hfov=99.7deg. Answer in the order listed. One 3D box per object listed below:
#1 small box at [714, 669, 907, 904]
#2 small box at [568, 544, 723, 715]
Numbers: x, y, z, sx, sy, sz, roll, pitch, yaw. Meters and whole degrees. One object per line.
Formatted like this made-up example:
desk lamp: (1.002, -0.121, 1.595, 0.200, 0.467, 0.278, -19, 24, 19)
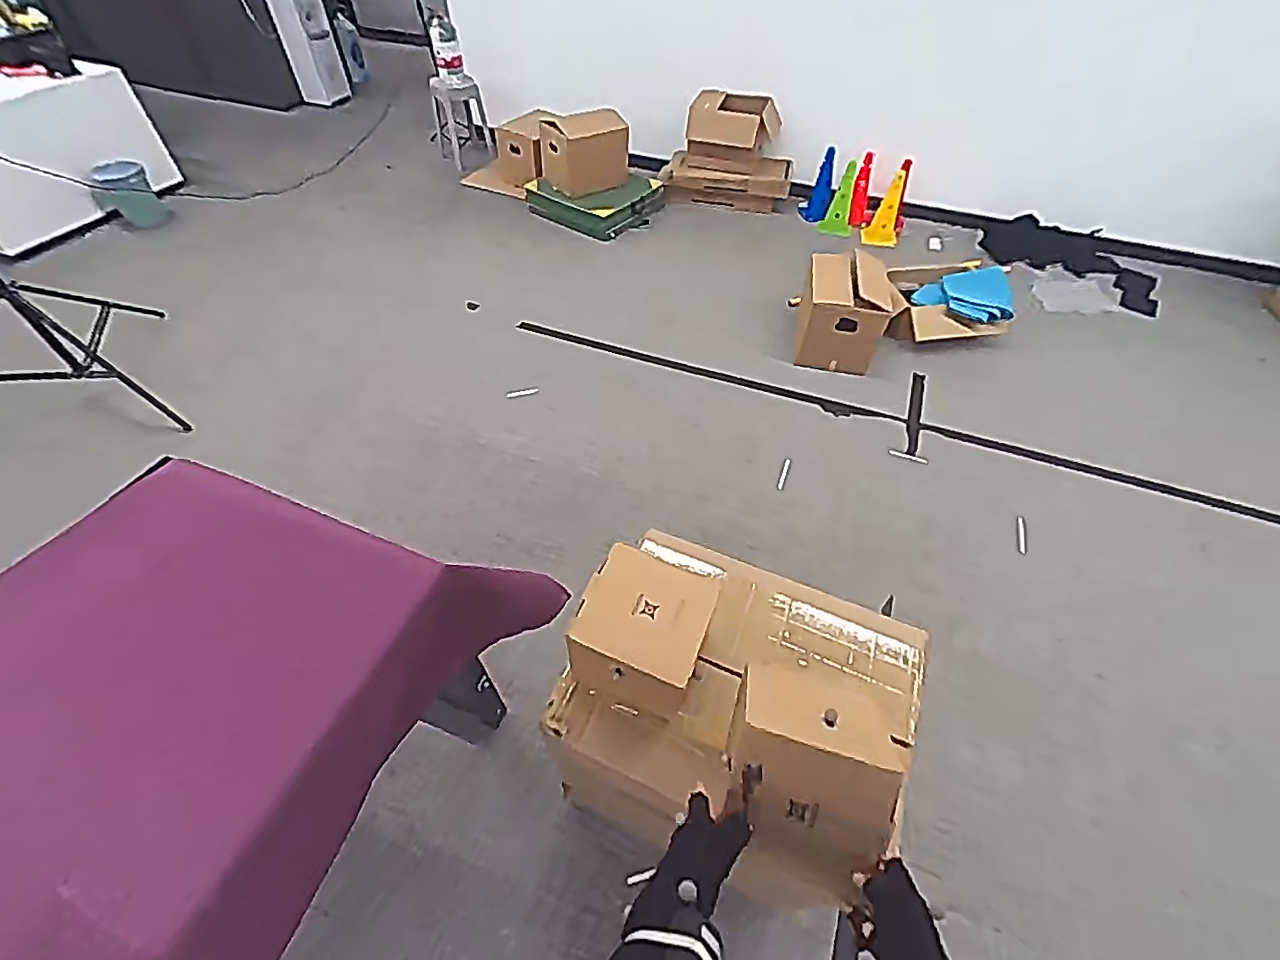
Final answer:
small box: (0.200, 0.362, 0.675, 0.179, 0.168, 0.176, 13, 8, 10)
small box: (0.009, 0.231, 0.819, 0.179, 0.176, 0.168, 19, 54, 13)
